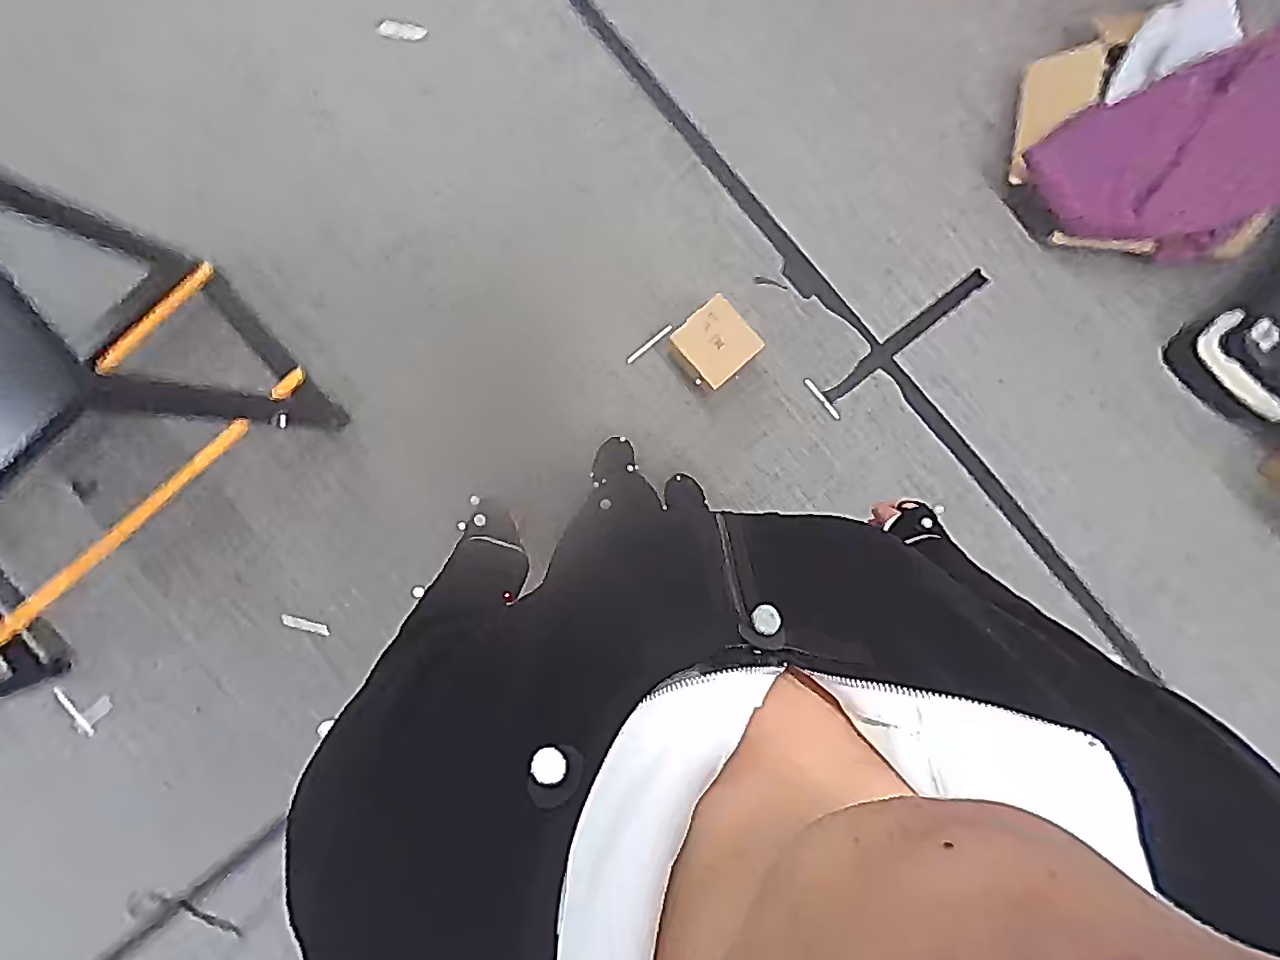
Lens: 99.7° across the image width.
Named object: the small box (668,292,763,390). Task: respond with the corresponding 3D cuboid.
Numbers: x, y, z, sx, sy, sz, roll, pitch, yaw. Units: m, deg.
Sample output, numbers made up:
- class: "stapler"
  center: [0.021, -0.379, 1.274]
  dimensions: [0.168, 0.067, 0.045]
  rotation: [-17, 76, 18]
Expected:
- class: "small box"
  center: [0.188, -0.348, 1.398]
  dimensions: [0.168, 0.176, 0.179]
  rotation: [-40, 90, 3]
